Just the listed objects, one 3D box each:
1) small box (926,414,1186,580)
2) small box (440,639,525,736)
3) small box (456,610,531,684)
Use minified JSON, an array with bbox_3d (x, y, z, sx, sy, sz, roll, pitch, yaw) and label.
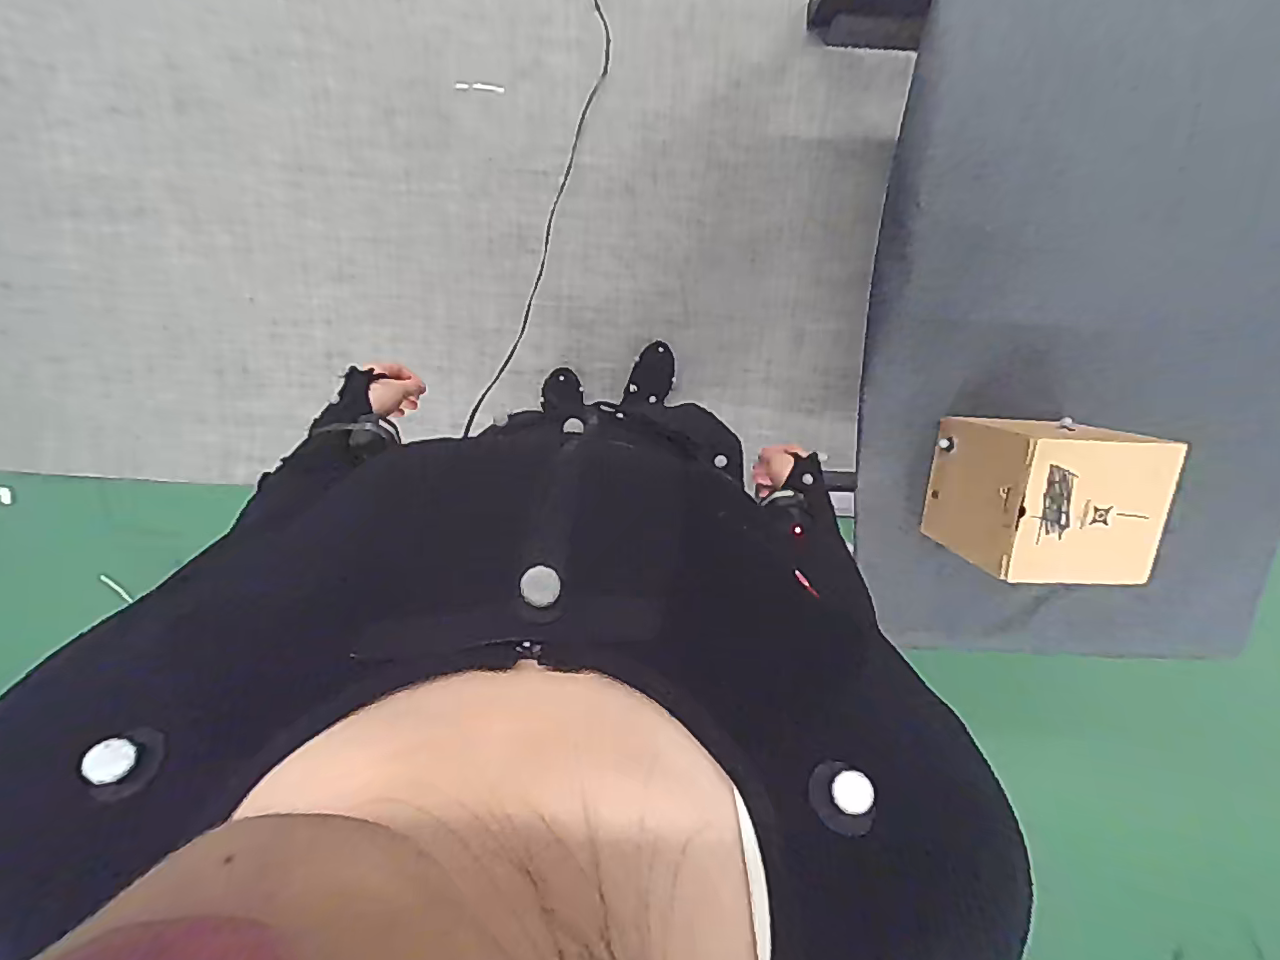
[{"bbox_3d":[0.488,0.012,0.667,0.179,0.176,0.168,2,104,-4],"label":"small box"},{"bbox_3d":[-0.394,0.522,1.377,0.179,0.176,0.168,5,104,-1],"label":"small box"},{"bbox_3d":[-0.409,0.482,1.534,0.179,0.176,0.168,2,104,-1],"label":"small box"}]
